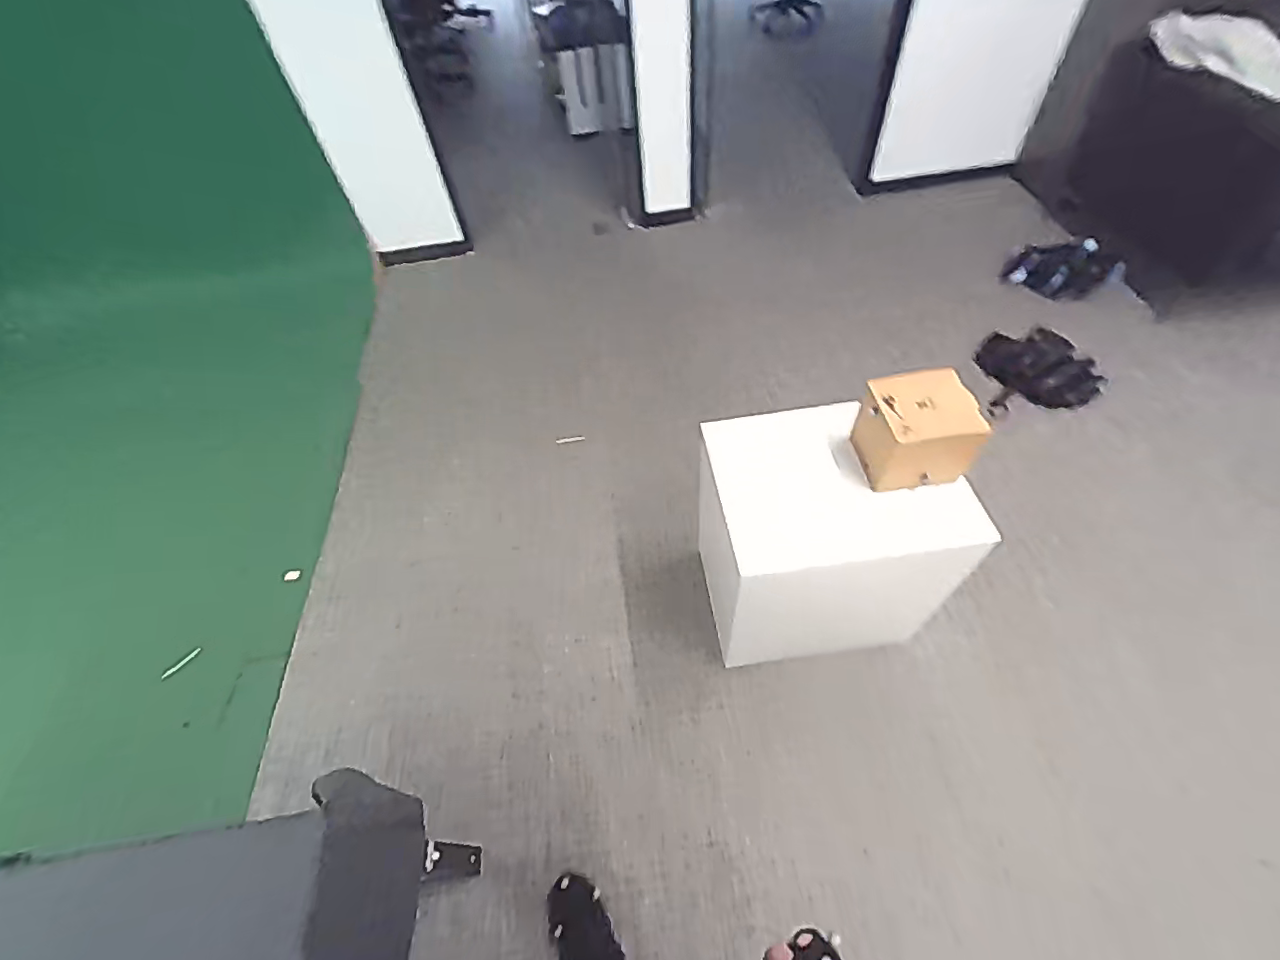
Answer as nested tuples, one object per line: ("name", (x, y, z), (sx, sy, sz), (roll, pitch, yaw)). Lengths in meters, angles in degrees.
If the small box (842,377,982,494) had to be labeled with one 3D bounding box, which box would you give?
("small box", (0.540, -0.087, 1.101), (0.179, 0.176, 0.168), (-6, 53, -2))
